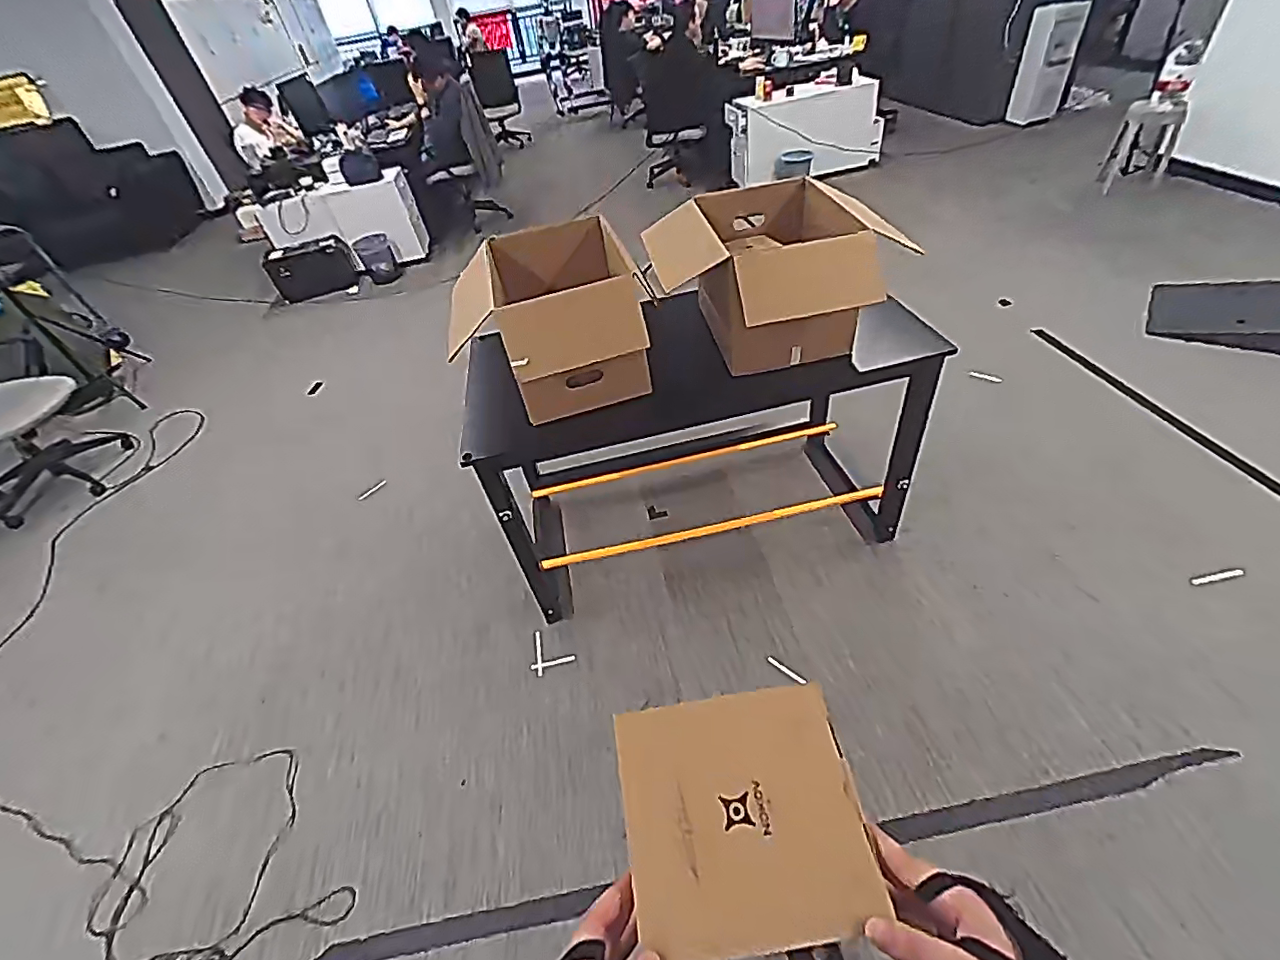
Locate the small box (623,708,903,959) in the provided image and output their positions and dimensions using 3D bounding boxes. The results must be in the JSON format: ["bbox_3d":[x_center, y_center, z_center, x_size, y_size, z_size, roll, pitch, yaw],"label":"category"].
[{"bbox_3d":[0.086,0.318,0.470,0.179,0.176,0.168,-10,52,-3],"label":"small box"}]
